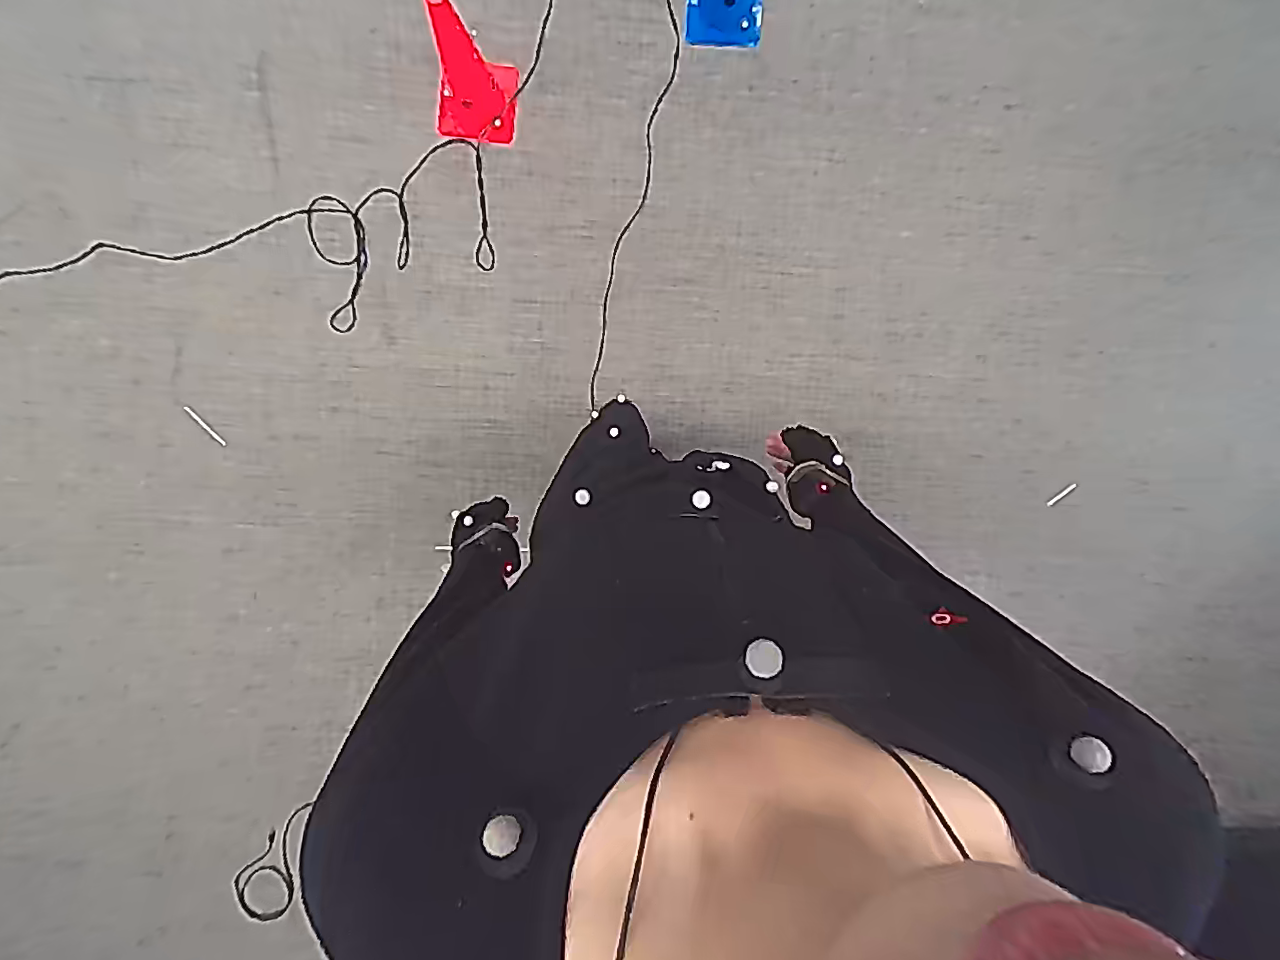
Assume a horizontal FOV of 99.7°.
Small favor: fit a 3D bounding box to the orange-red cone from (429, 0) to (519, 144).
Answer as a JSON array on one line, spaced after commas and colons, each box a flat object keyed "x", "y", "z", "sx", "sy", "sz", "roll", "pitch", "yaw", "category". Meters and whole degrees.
[{"x": -0.412, "y": -0.976, "z": 1.232, "sx": 0.198, "sy": 0.360, "sz": 0.199, "roll": 7, "pitch": 93, "yaw": -4, "category": "orange-red cone"}]
